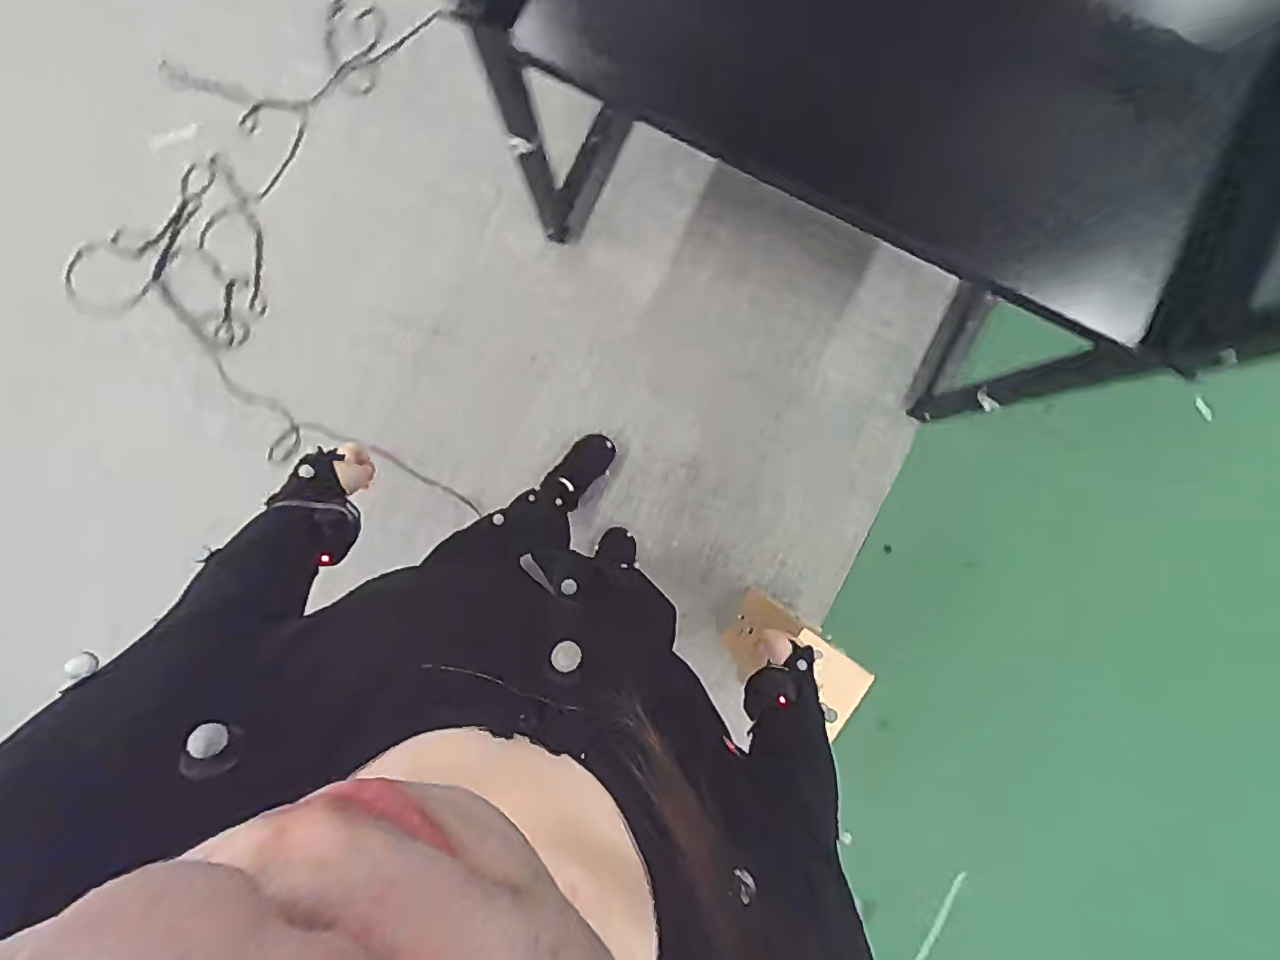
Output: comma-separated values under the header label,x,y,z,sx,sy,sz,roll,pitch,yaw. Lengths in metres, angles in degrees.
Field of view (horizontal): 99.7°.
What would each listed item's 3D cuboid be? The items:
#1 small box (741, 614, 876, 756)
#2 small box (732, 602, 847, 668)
label,x,y,z,sx,sy,sz,roll,pitch,yaw
small box,0.320,0.392,1.073,0.168,0.176,0.179,36,89,0
small box,0.331,0.399,1.240,0.179,0.176,0.168,33,89,1
